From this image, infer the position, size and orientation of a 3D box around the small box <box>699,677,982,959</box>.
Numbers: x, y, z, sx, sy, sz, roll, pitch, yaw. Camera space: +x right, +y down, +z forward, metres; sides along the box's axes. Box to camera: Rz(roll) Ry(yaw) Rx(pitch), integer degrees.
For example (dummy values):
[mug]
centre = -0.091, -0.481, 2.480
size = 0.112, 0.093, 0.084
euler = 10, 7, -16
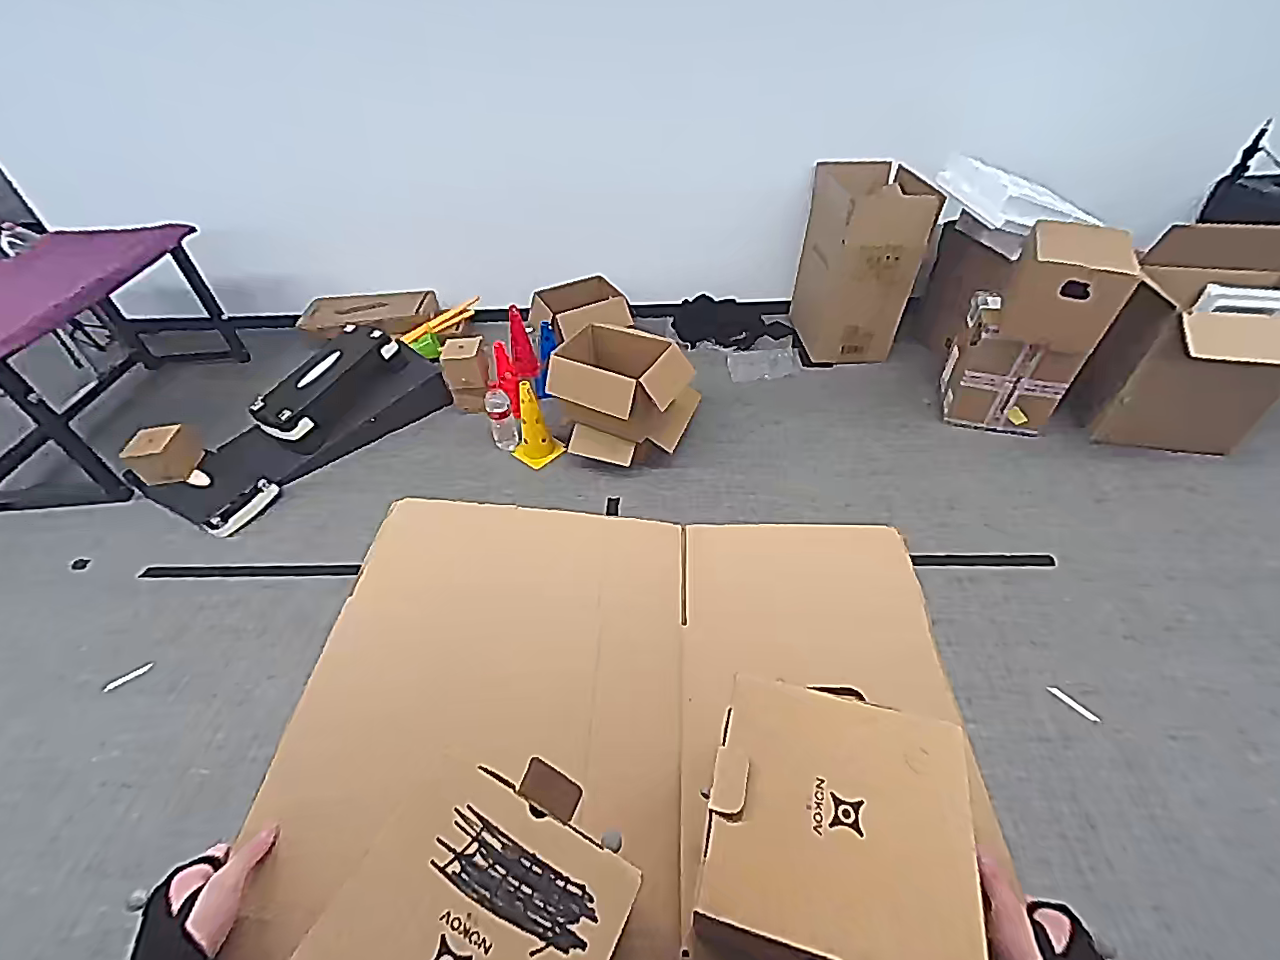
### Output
[small box]
centre = 0.151, 0.292, 0.450
size = 0.179, 0.176, 0.168
euler = 8, 49, 14
